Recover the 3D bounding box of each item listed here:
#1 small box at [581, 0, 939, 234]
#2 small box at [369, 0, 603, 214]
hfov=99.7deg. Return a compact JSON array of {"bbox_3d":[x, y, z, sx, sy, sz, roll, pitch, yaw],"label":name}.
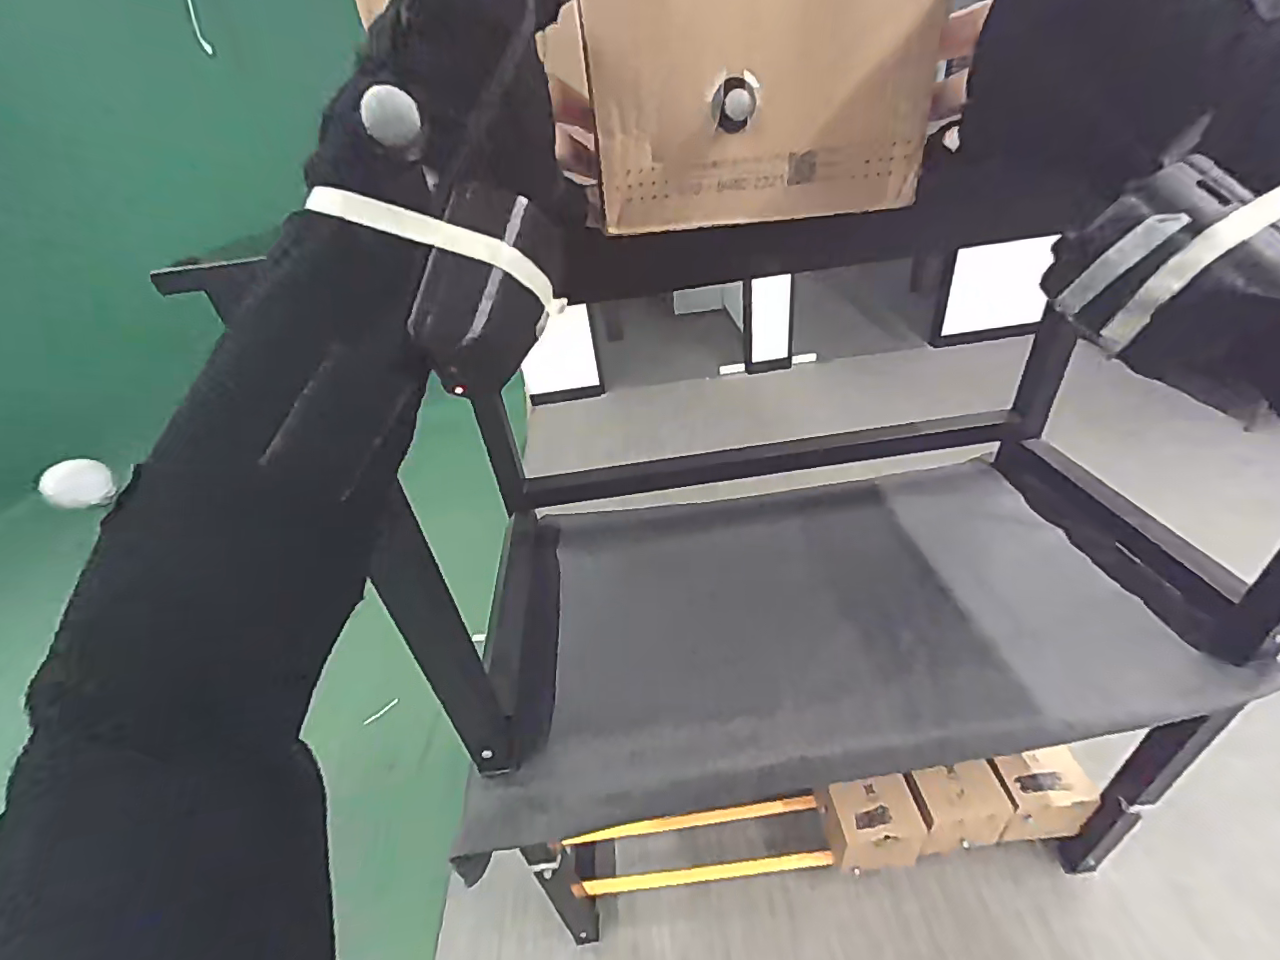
[{"bbox_3d":[0.052,-0.253,0.317,0.168,0.176,0.179,-6,37,0],"label":"small box"},{"bbox_3d":[-0.131,-0.368,0.525,0.168,0.176,0.179,-11,35,-2],"label":"small box"}]
